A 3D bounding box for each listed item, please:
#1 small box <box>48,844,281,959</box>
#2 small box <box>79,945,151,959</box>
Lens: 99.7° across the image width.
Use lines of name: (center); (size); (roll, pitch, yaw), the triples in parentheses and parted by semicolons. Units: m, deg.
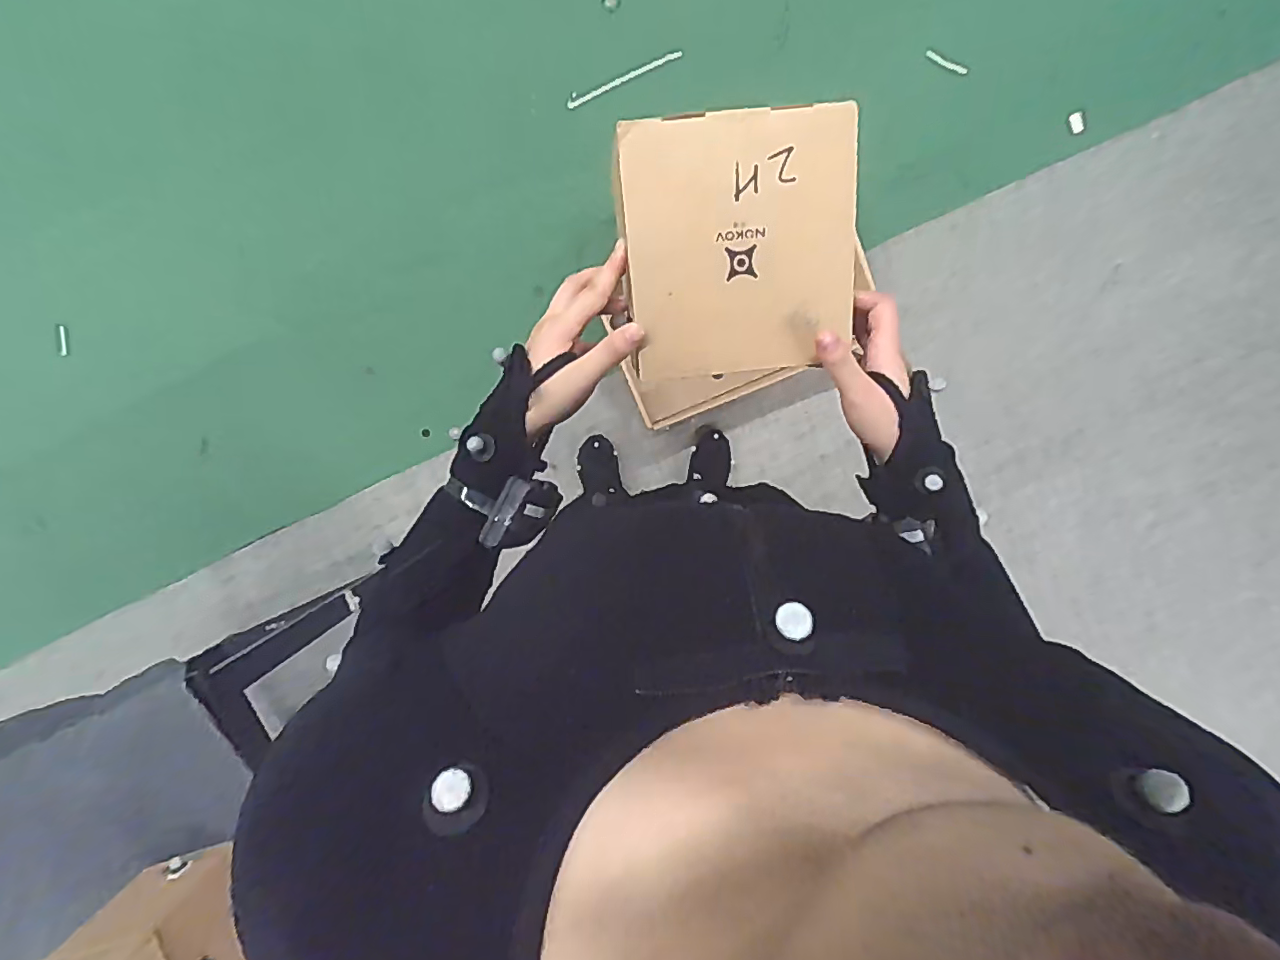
small box: (-0.627, 0.640, 0.716); (0.168, 0.176, 0.179); (-21, 96, 1)
small box: (-0.615, 0.641, 0.551); (0.168, 0.176, 0.179); (-18, 97, 1)
